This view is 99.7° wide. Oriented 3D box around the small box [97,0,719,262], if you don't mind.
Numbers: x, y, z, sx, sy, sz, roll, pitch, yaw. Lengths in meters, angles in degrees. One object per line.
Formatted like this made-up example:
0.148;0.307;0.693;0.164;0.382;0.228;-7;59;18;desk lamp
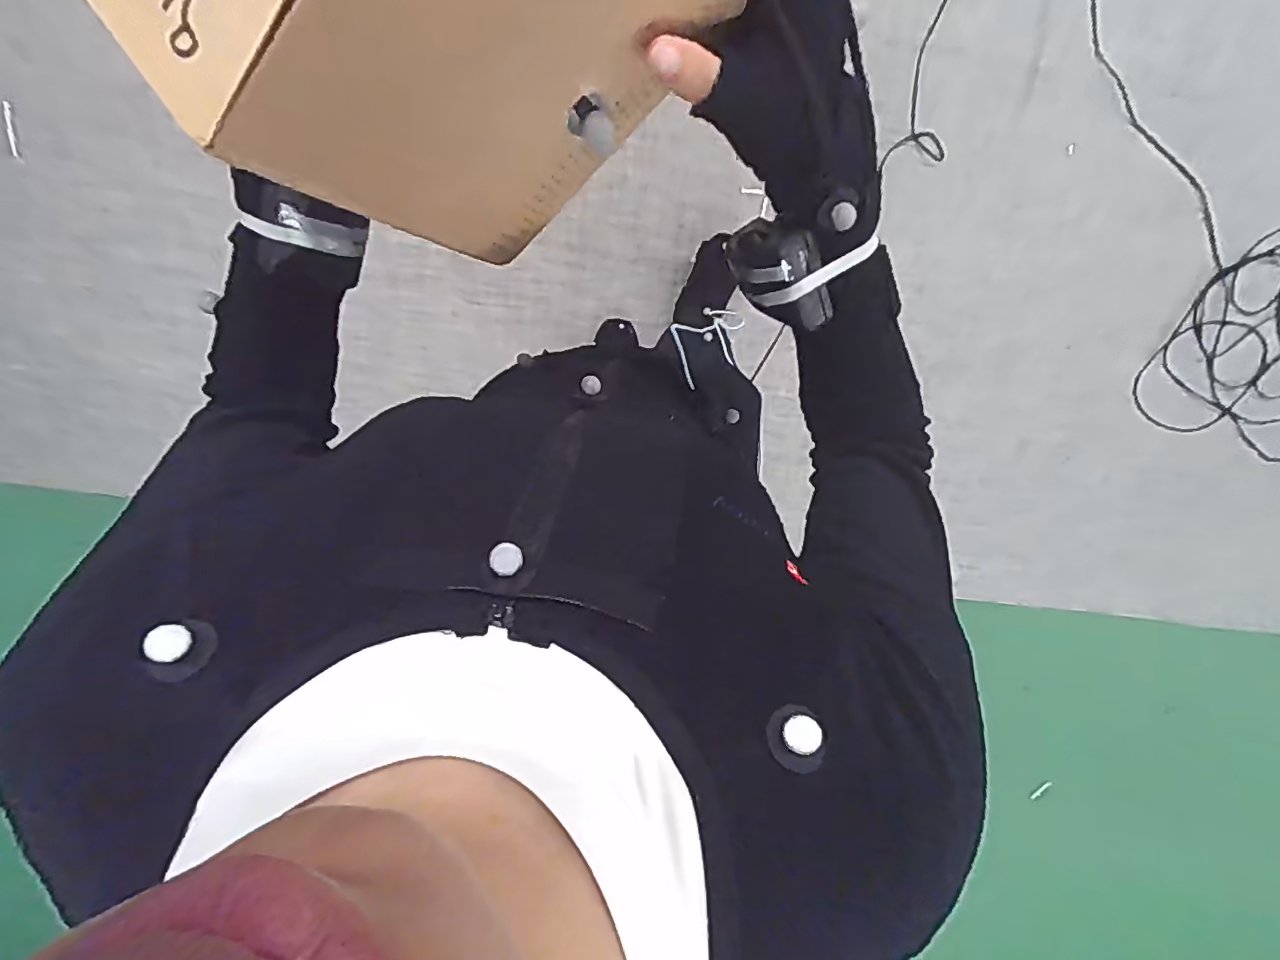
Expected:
-0.083;-0.218;0.206;0.179;0.176;0.168;-38;87;19;small box
